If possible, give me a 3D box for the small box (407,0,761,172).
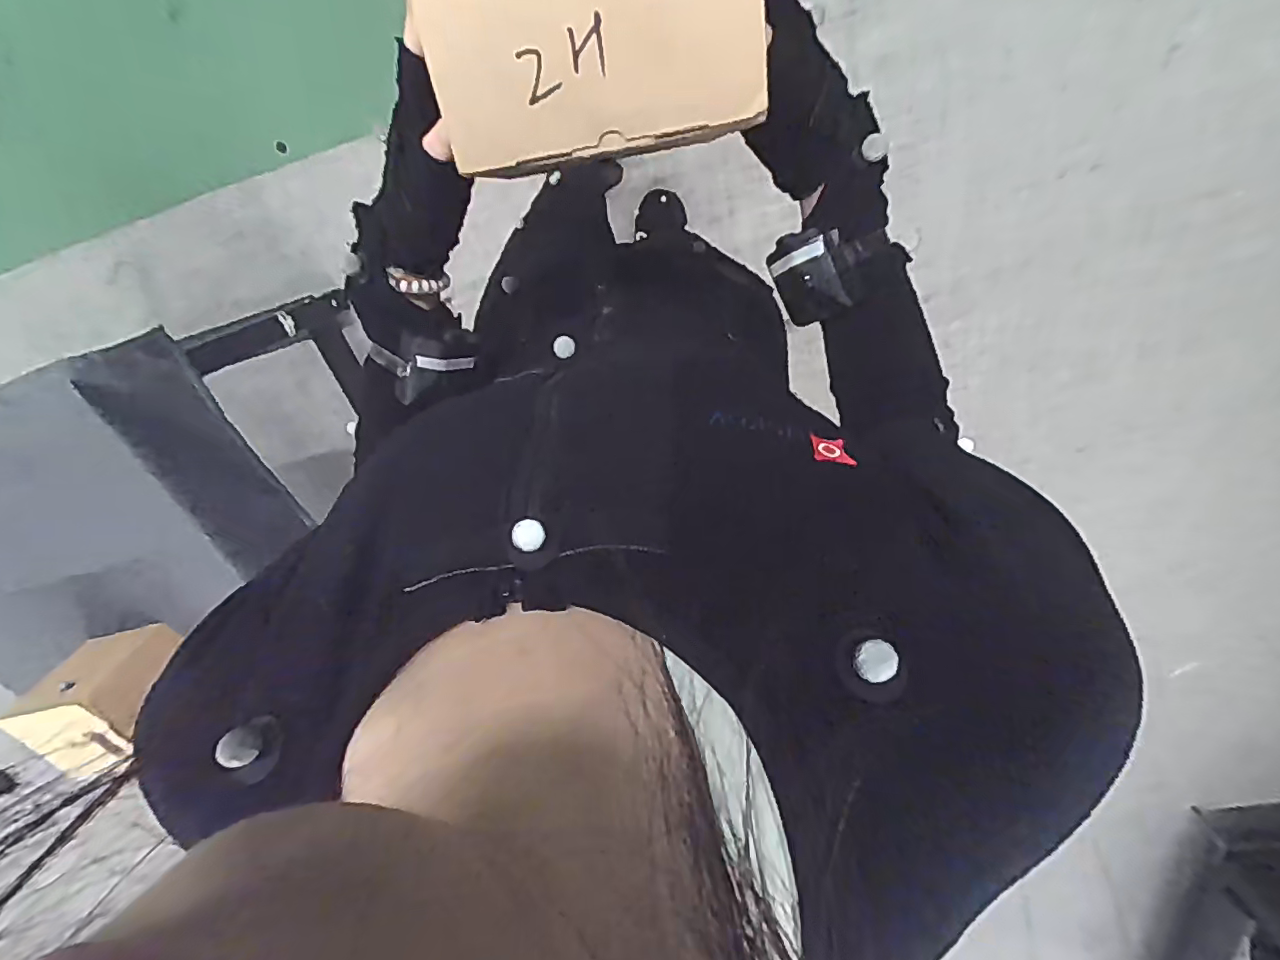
[{"bbox_3d":[-0.036,-0.289,0.309,0.168,0.176,0.179,-10,120,2],"label":"small box"}]

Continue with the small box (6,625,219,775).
[{"bbox_3d":[-0.884,0.374,0.935,0.179,0.176,0.168,-14,119,11],"label":"small box"}]
